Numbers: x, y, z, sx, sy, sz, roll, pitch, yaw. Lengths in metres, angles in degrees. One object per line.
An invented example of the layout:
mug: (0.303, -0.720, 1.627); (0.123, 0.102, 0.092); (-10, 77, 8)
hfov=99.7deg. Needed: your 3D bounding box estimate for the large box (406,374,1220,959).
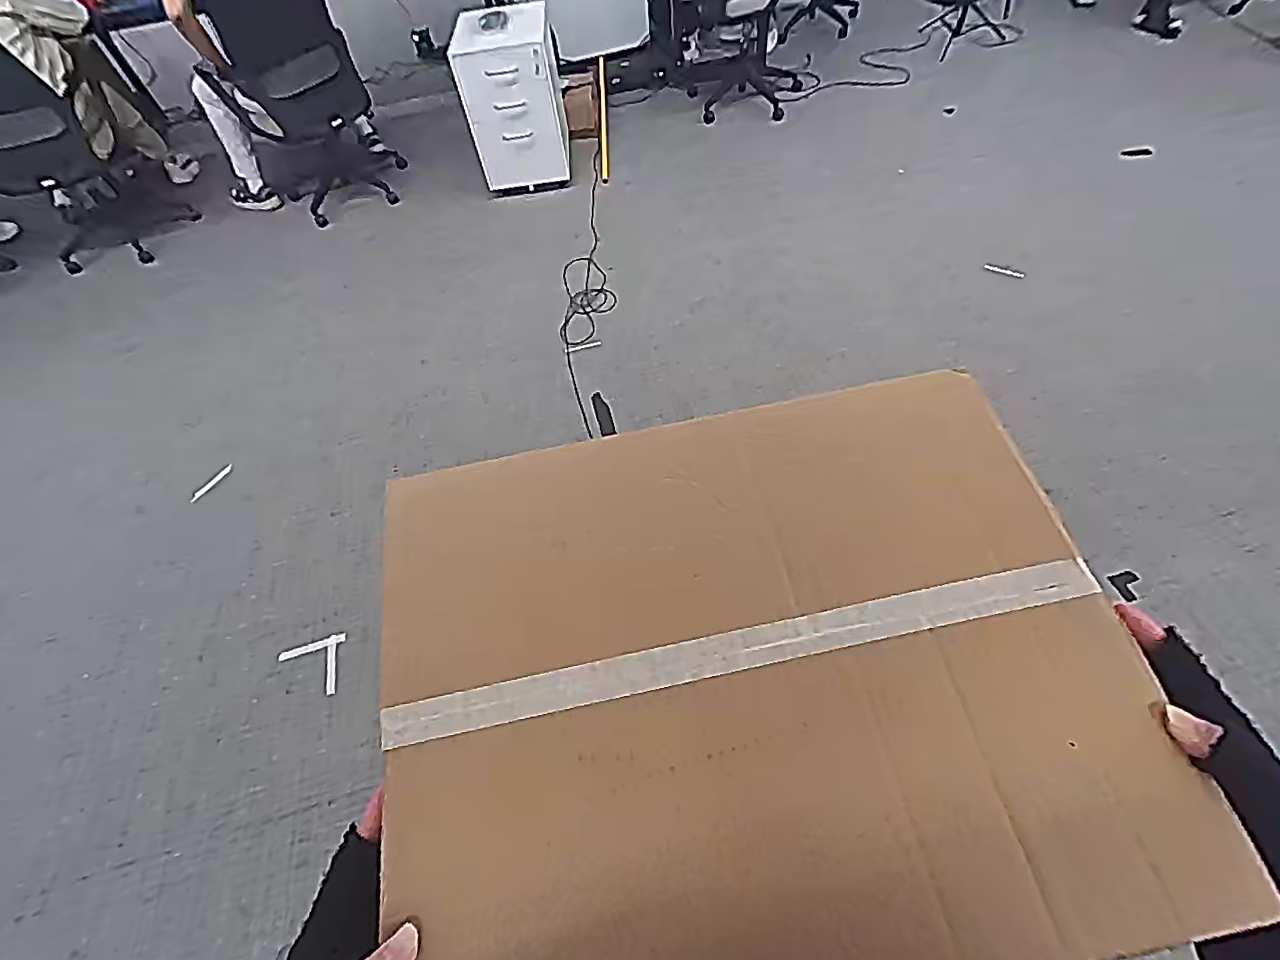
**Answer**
large box: (0.067, 0.163, 0.452); (0.408, 0.320, 0.320); (-12, 64, -2)
